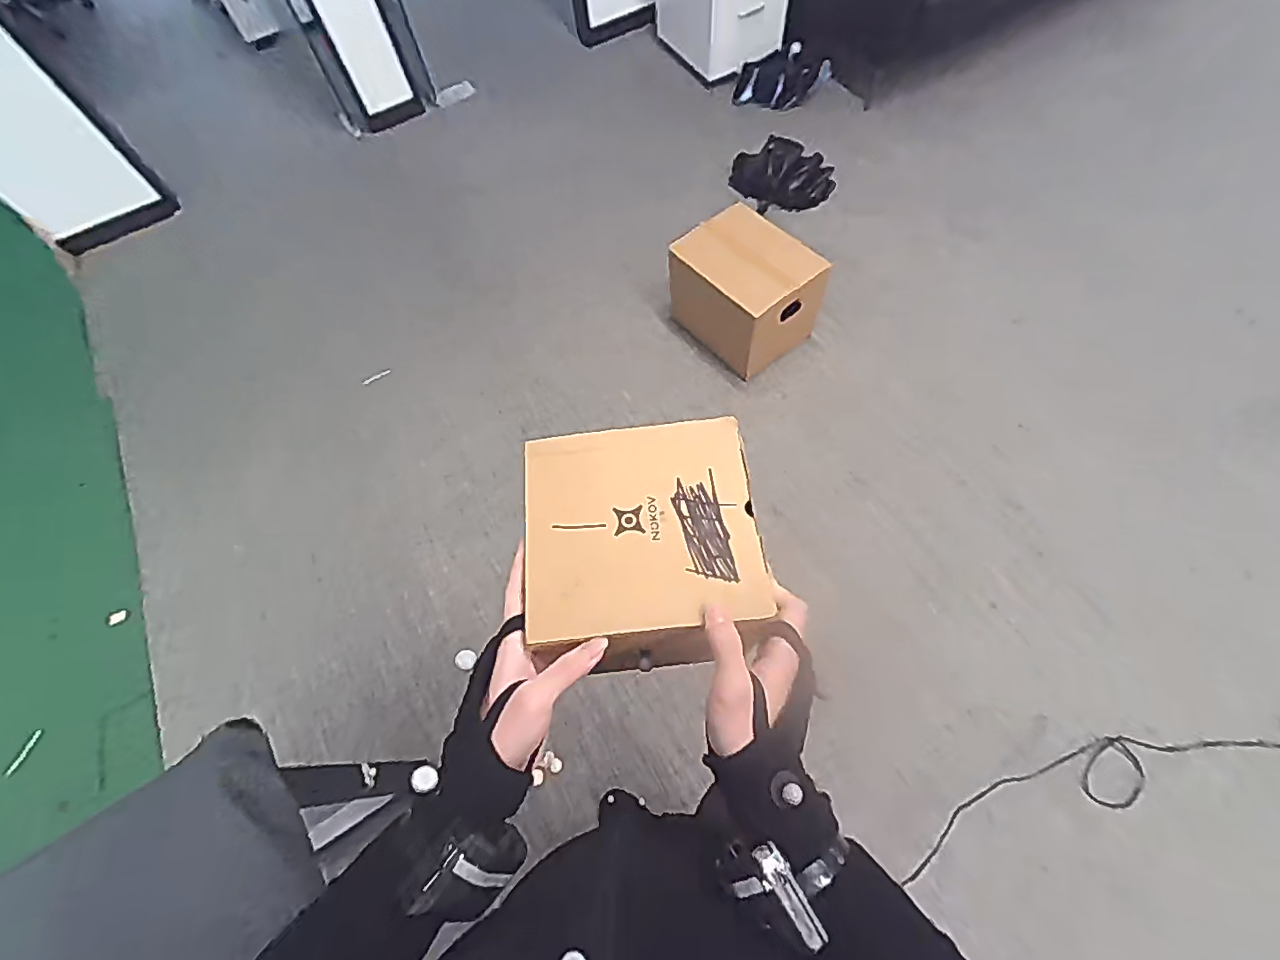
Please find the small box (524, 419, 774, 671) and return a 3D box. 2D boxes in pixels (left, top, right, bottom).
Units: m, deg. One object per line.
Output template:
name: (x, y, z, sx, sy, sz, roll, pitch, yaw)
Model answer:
small box: (0.003, 0.066, 0.477, 0.179, 0.176, 0.168, -6, 62, 0)
